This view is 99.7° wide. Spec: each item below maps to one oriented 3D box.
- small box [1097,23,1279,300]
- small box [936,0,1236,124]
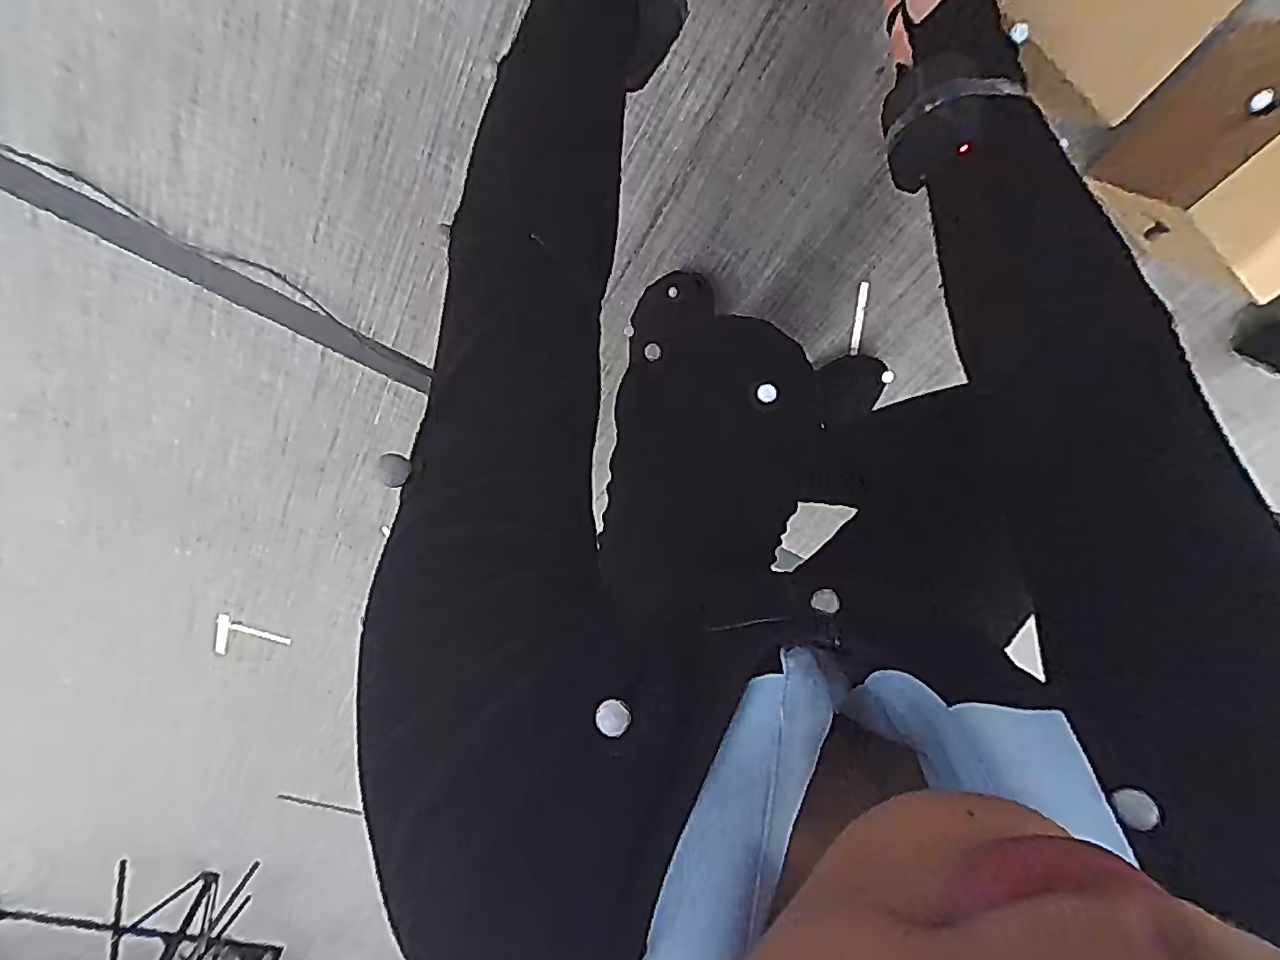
[{"bbox_3d":[0.635,-0.330,0.564,0.168,0.176,0.179,28,123,-20],"label":"small box"},{"bbox_3d":[0.392,-0.452,0.466,0.168,0.176,0.179,26,124,-19],"label":"small box"}]
